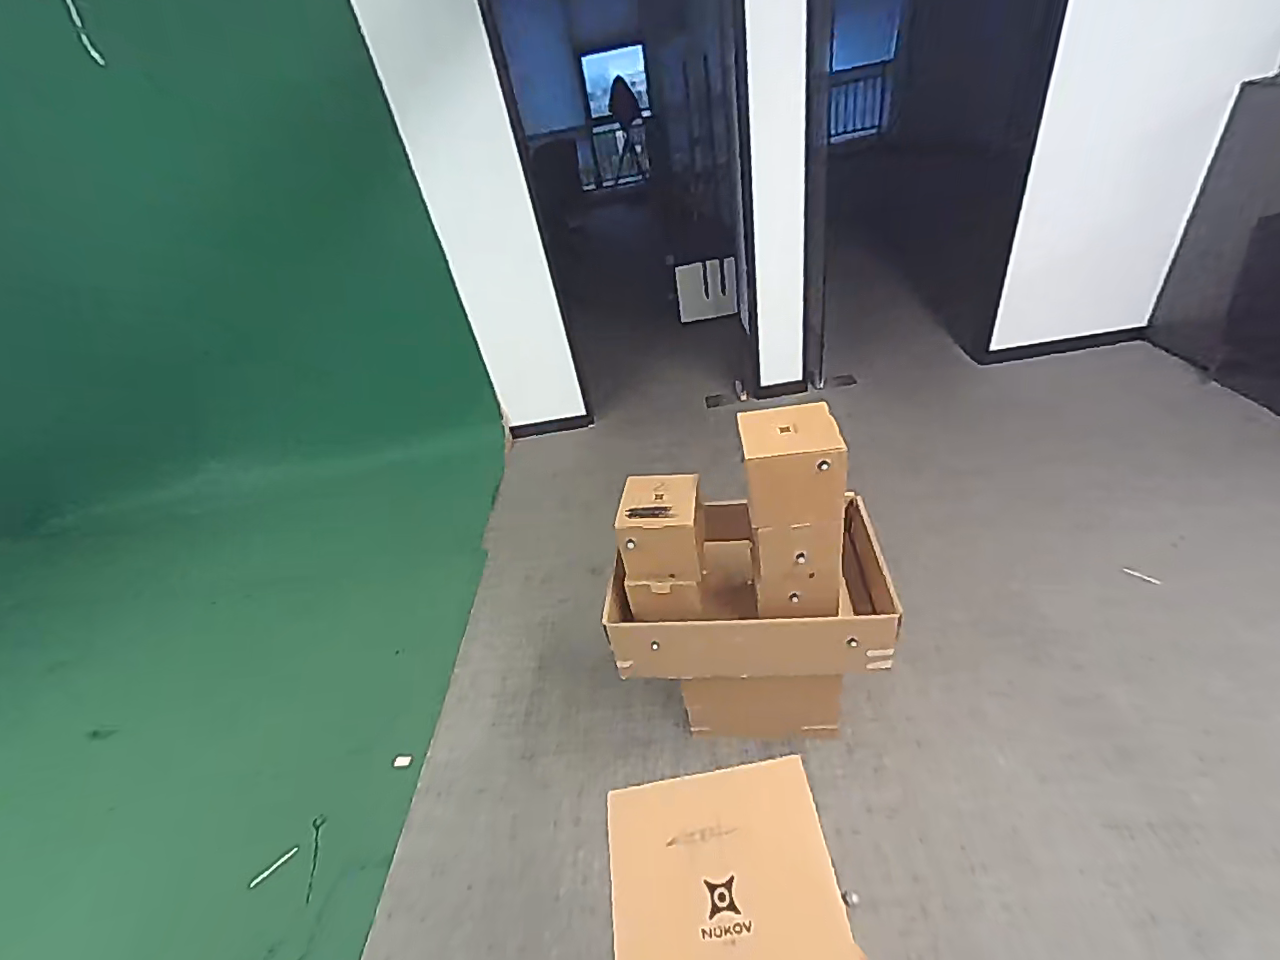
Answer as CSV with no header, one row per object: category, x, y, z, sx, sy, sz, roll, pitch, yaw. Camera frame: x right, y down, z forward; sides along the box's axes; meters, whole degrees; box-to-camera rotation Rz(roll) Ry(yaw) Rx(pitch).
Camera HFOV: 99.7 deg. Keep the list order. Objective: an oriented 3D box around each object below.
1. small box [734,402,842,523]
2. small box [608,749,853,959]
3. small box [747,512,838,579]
small box,0.284,-0.031,1.054,0.179,0.176,0.168,-6,37,8
small box,0.077,0.352,0.448,0.168,0.176,0.179,-13,45,6
small box,0.317,0.096,1.152,0.168,0.176,0.179,-7,38,7
